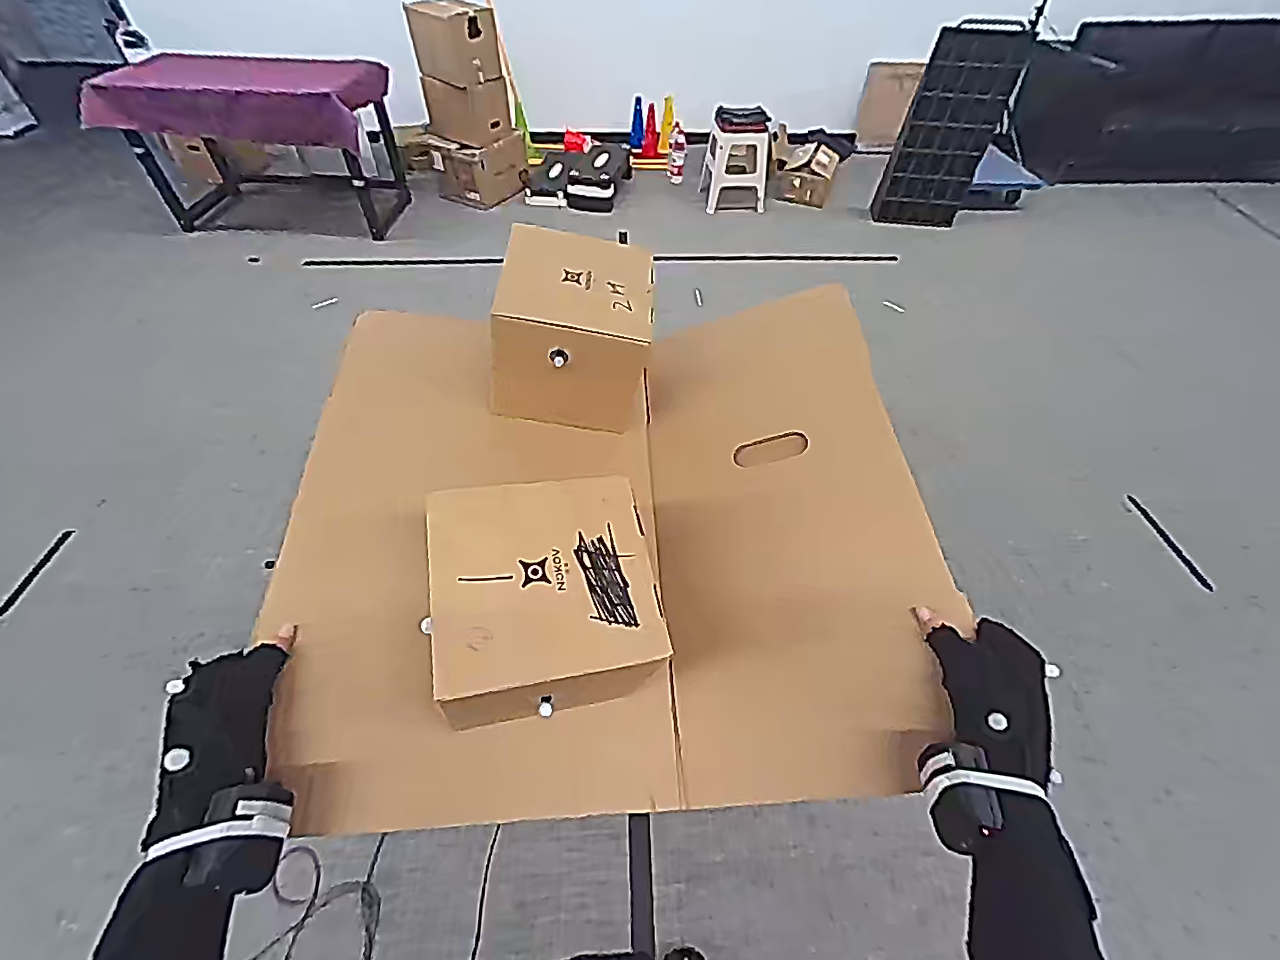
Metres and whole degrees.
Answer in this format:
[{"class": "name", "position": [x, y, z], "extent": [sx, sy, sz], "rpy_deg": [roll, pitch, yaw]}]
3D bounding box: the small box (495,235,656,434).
[{"class": "small box", "position": [-0.084, -0.178, 0.695], "extent": [0.179, 0.176, 0.168], "rpy_deg": [9, 57, -10]}]

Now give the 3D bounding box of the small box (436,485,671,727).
[{"class": "small box", "position": [-0.090, 0.120, 0.505], "extent": [0.179, 0.176, 0.168], "rpy_deg": [-5, 60, -17]}]
